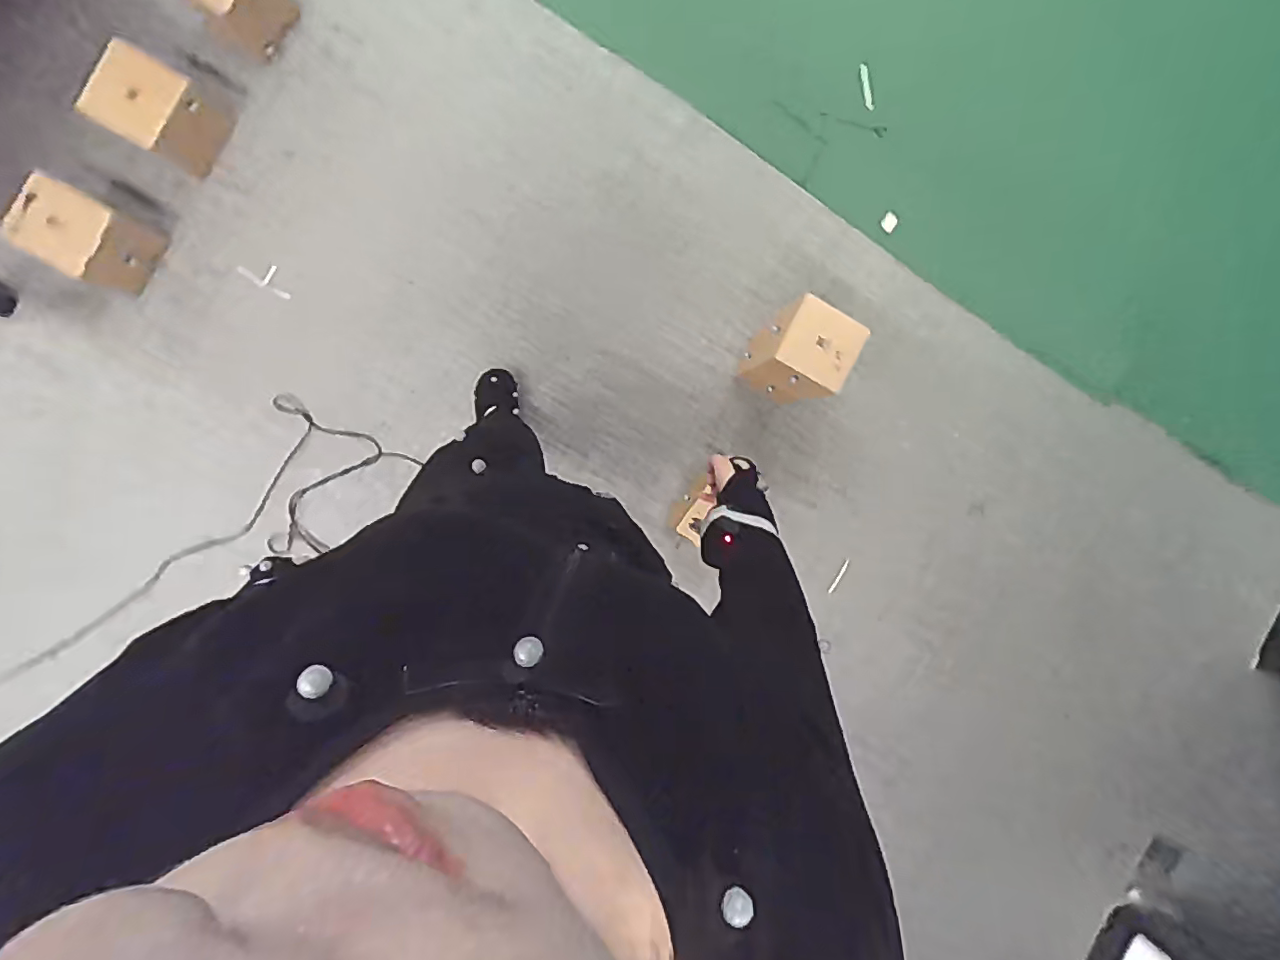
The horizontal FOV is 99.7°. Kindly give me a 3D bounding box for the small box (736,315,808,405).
[{"bbox_3d":[0.384,-0.314,1.461,0.179,0.176,0.168,30,91,-8],"label":"small box"}]

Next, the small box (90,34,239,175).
[{"bbox_3d":[-1.089,-0.857,1.257,0.168,0.176,0.179,30,90,-8],"label":"small box"}]

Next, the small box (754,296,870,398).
[{"bbox_3d":[0.402,-0.306,1.298,0.179,0.176,0.168,29,91,-8],"label":"small box"}]

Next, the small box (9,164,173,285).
[{"bbox_3d":[-1.255,-0.577,1.255,0.179,0.176,0.168,31,89,-9],"label":"small box"}]
